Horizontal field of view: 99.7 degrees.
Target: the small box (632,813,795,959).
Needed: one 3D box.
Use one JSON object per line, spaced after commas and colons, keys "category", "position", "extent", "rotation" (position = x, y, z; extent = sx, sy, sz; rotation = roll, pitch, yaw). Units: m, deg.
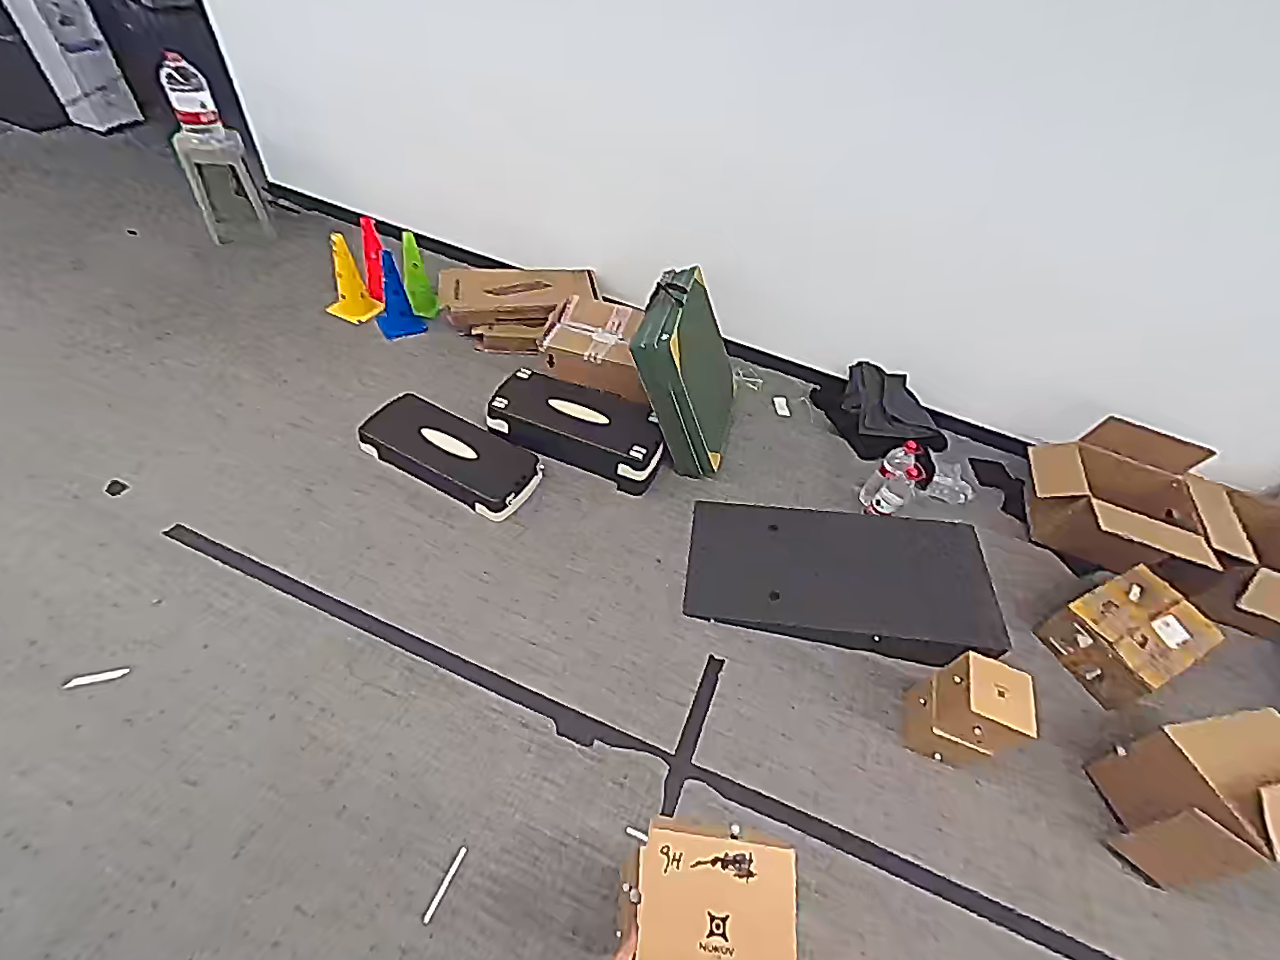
{"category": "small box", "position": [0.082, 0.512, 0.636], "extent": [0.168, 0.176, 0.179], "rotation": [6, 63, 6]}
